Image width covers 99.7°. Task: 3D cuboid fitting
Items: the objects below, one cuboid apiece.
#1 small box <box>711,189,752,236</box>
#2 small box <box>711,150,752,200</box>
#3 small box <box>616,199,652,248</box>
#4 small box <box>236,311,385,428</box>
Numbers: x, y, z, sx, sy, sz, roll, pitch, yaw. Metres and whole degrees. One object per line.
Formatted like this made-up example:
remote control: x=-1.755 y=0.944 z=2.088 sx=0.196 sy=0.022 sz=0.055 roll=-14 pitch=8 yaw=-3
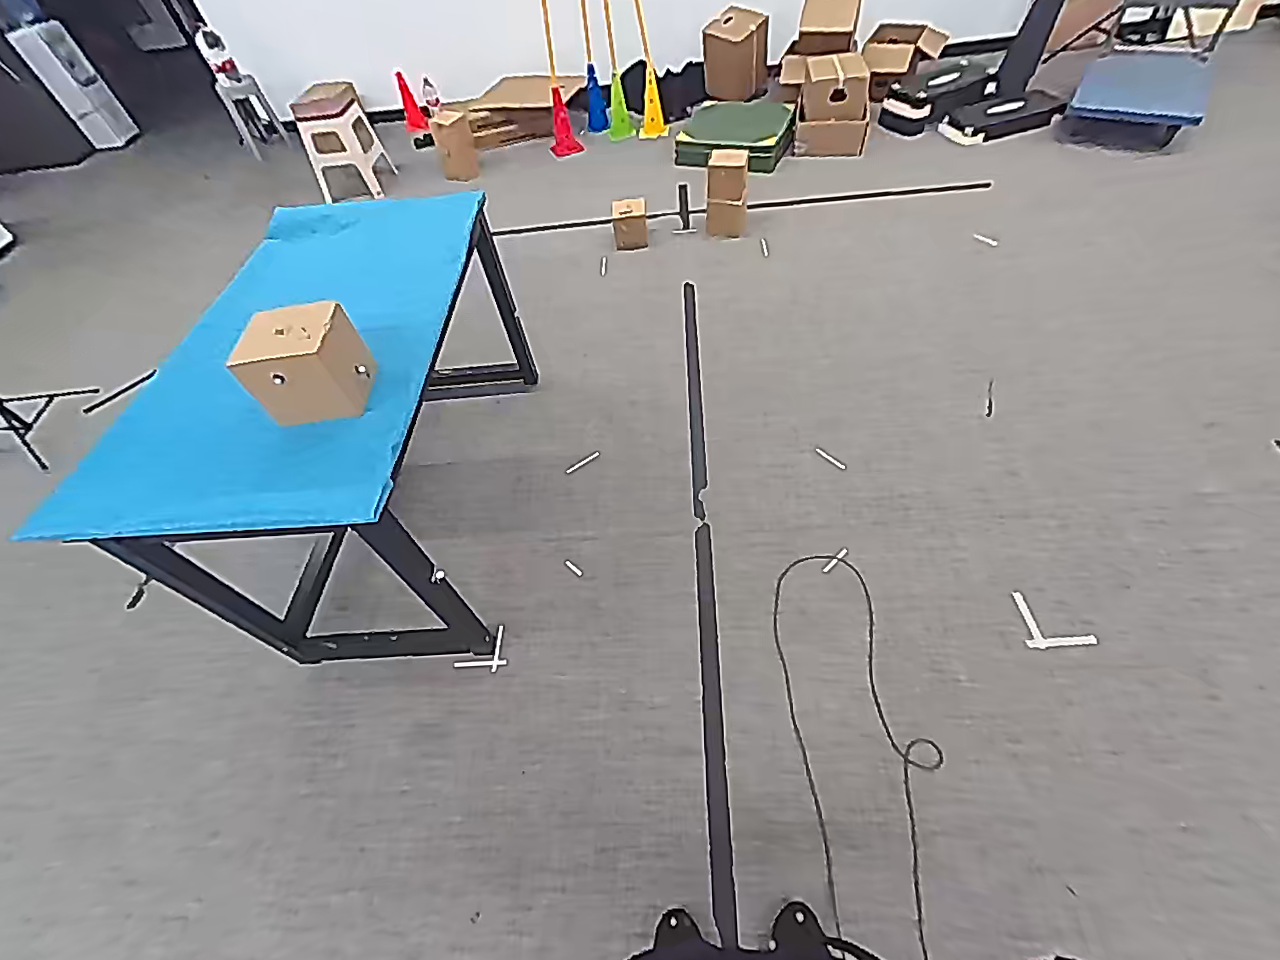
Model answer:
small box: x=0.464 y=-1.364 z=2.751 sx=0.179 sy=0.176 sz=0.168 roll=10 pitch=54 yaw=14
small box: x=0.444 y=-1.486 z=2.638 sx=0.179 sy=0.176 sz=0.168 roll=9 pitch=55 yaw=13
small box: x=-0.026 y=-1.306 z=2.771 sx=0.168 sy=0.176 sz=0.179 roll=-5 pitch=51 yaw=5
small box: x=-0.660 y=-0.221 z=1.108 sx=0.179 sy=0.176 sz=0.168 roll=-4 pitch=53 yaw=2
